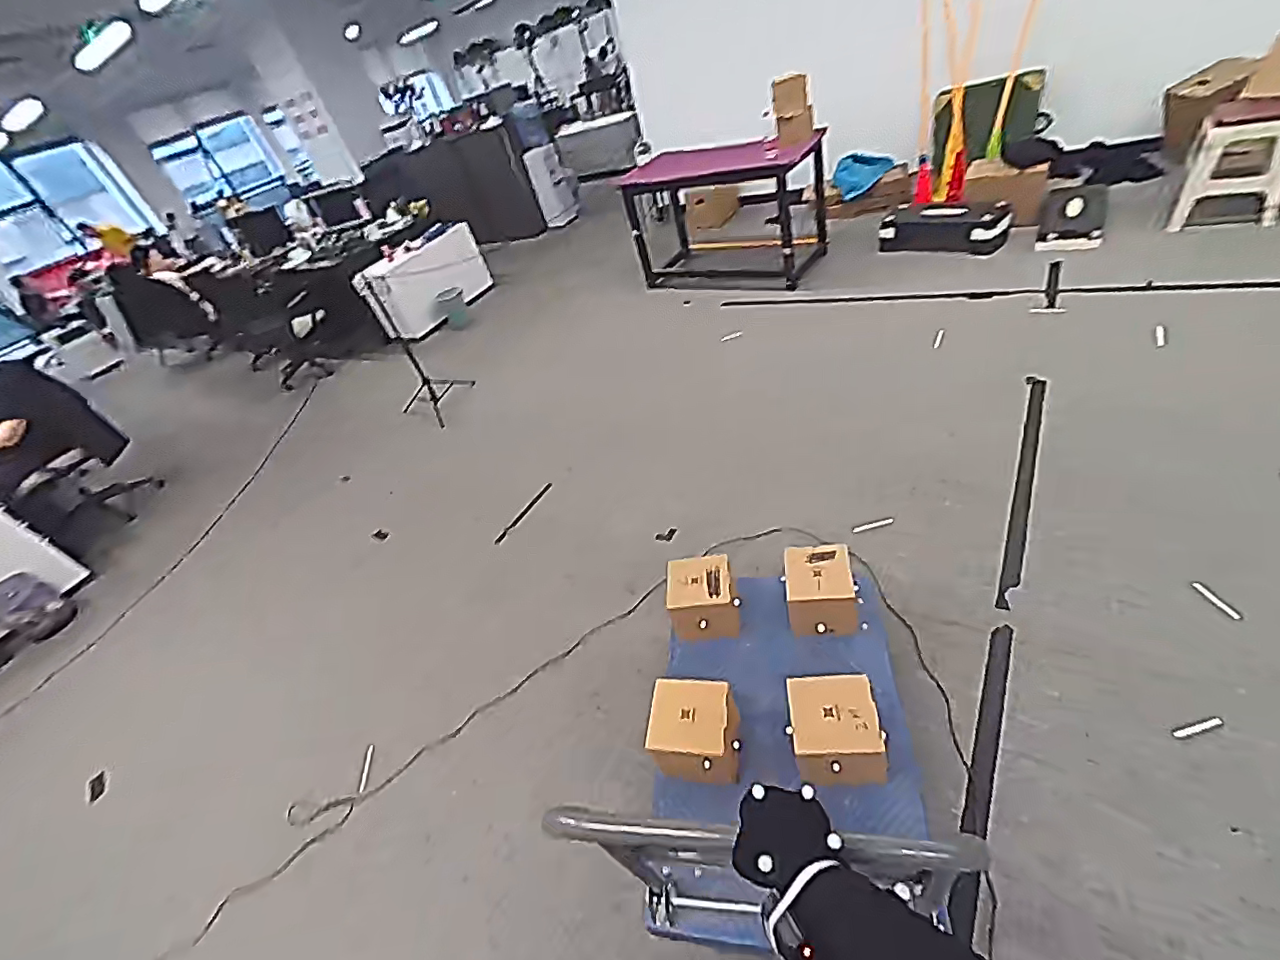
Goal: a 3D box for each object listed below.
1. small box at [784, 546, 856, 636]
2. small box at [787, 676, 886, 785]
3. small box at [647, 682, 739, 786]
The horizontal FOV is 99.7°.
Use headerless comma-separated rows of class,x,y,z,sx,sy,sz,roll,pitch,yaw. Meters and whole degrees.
small box,0.482,0.300,1.455,0.168,0.176,0.179,-7,41,16
small box,0.427,0.550,1.181,0.179,0.176,0.168,-9,40,14
small box,0.131,0.591,1.260,0.179,0.176,0.168,-4,40,16
